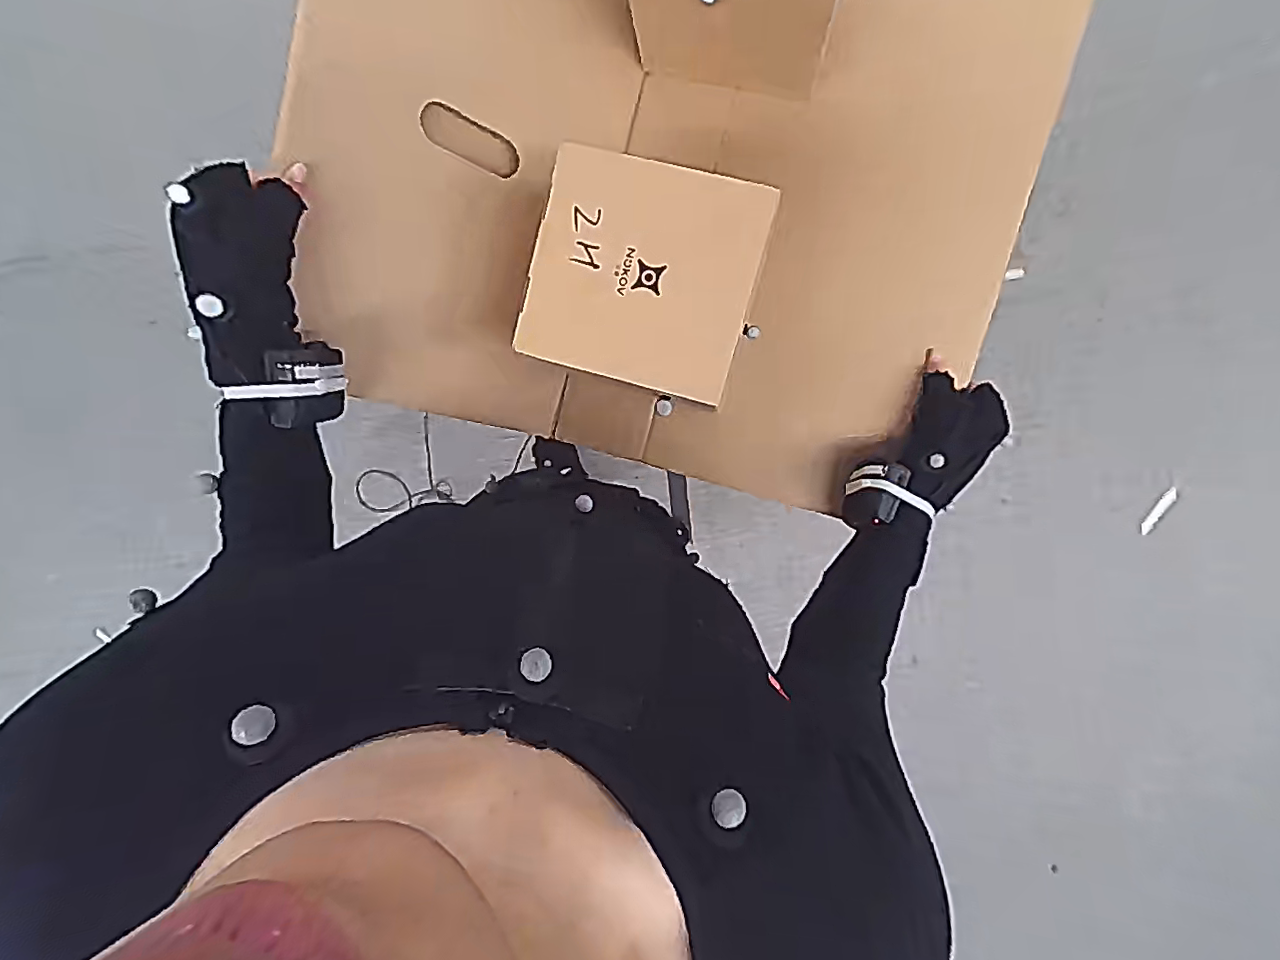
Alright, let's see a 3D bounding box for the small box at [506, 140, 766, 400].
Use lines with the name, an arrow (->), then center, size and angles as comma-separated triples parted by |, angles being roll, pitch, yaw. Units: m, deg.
small box -> 0.004, -0.175, 0.504 | 0.179, 0.176, 0.168 | 16, 97, 8
